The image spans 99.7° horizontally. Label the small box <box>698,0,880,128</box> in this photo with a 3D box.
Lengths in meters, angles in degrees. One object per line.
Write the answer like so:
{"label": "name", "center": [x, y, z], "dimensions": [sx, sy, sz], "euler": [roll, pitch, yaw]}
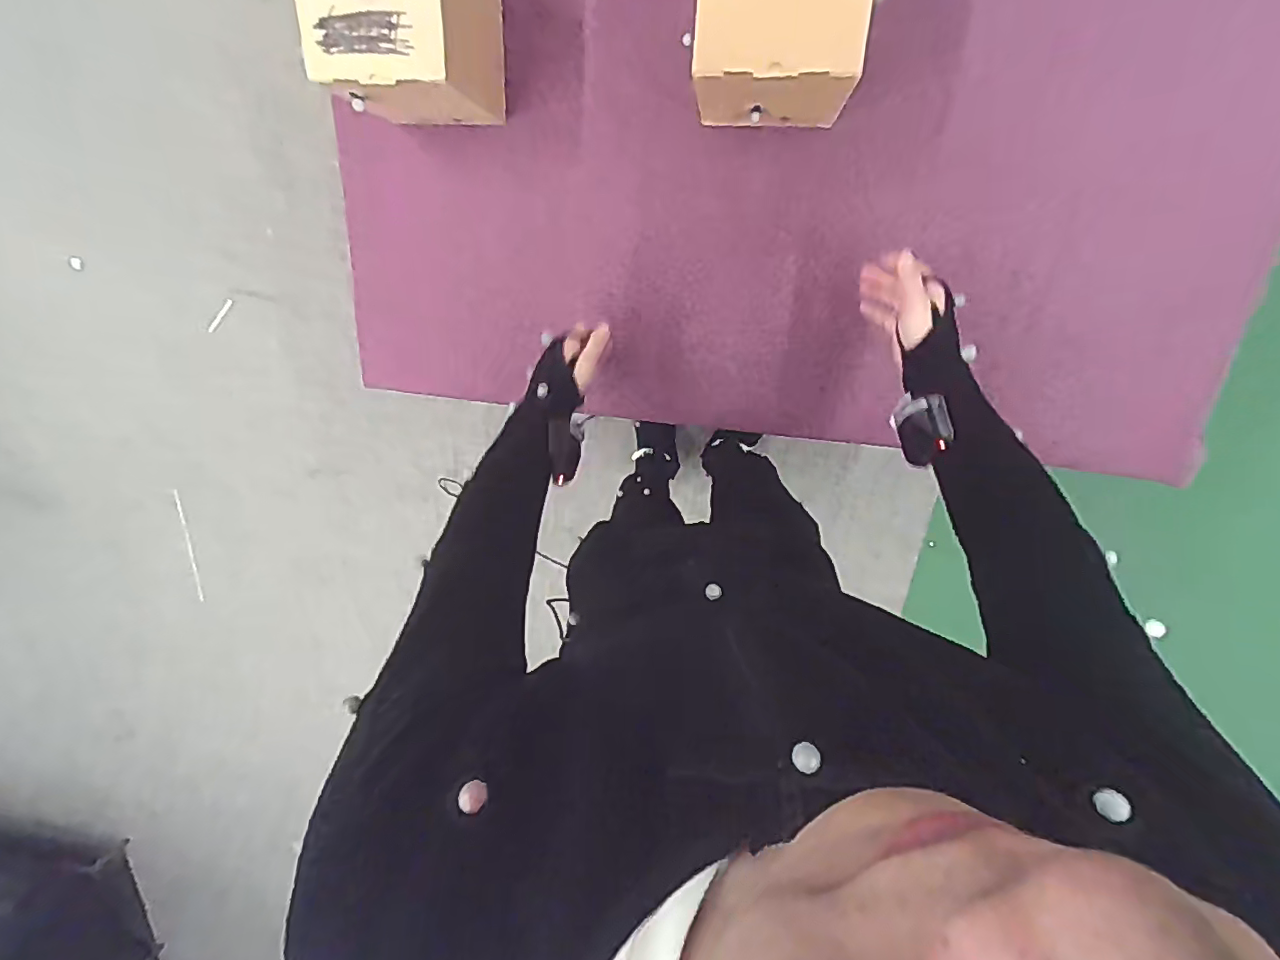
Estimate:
{"label": "small box", "center": [0.153, -0.501, 0.573], "dimensions": [0.168, 0.176, 0.179], "euler": [6, 110, 7]}
